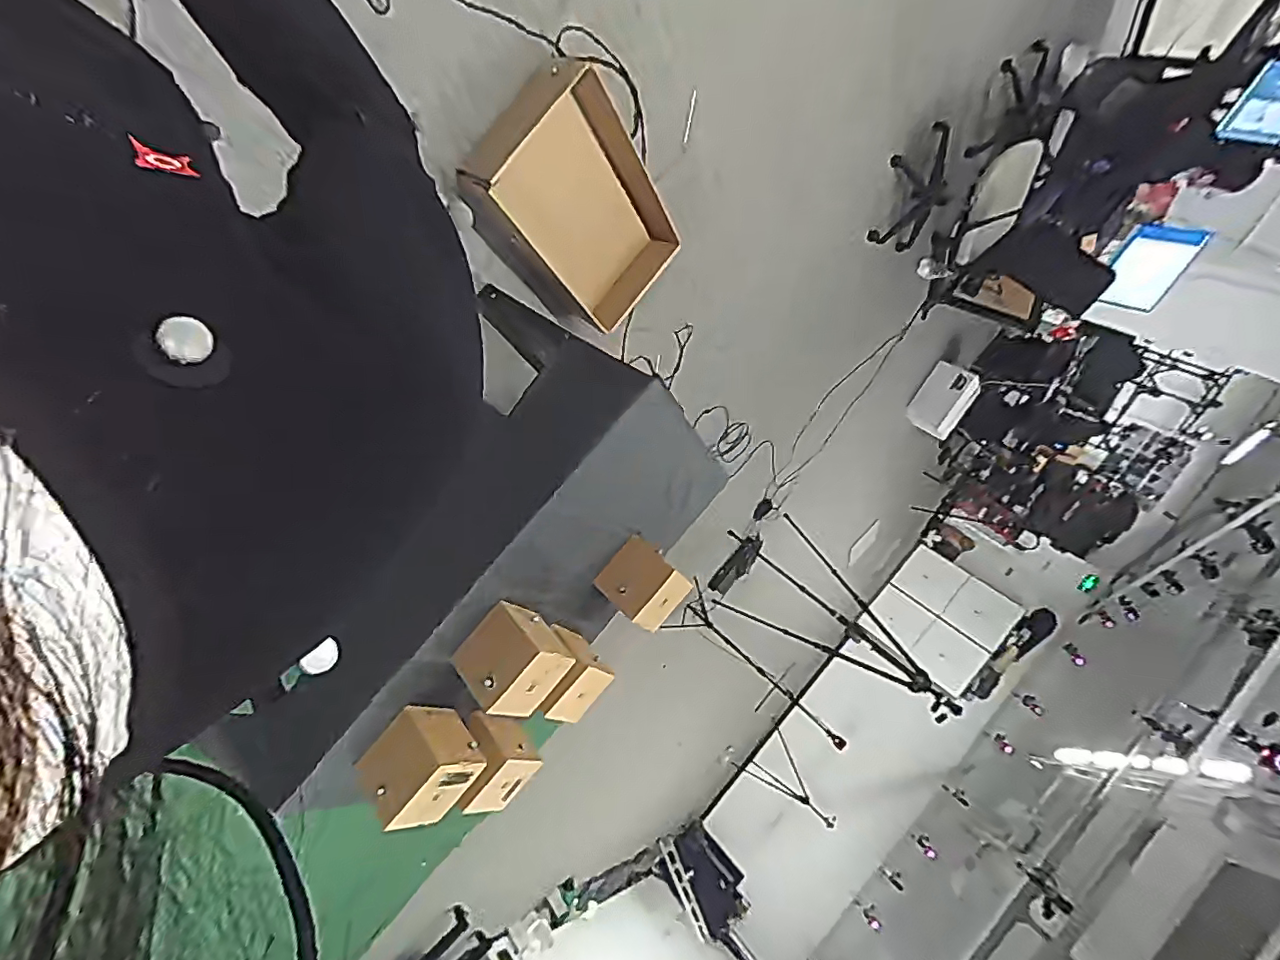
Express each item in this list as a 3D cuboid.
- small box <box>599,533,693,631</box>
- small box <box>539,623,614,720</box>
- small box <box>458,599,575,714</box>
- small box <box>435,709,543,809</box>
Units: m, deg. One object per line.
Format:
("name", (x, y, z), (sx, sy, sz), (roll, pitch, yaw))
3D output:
("small box", (0.009, 0.280, 1.484), (0.179, 0.176, 0.168), (-47, 146, -5))
("small box", (-0.206, 0.510, 1.448), (0.168, 0.176, 0.179), (-48, 147, -6))
("small box", (-0.291, 0.406, 1.243), (0.179, 0.176, 0.168), (-49, 148, -5))
("small box", (-0.395, 0.727, 1.420), (0.168, 0.176, 0.179), (-48, 146, -6))
